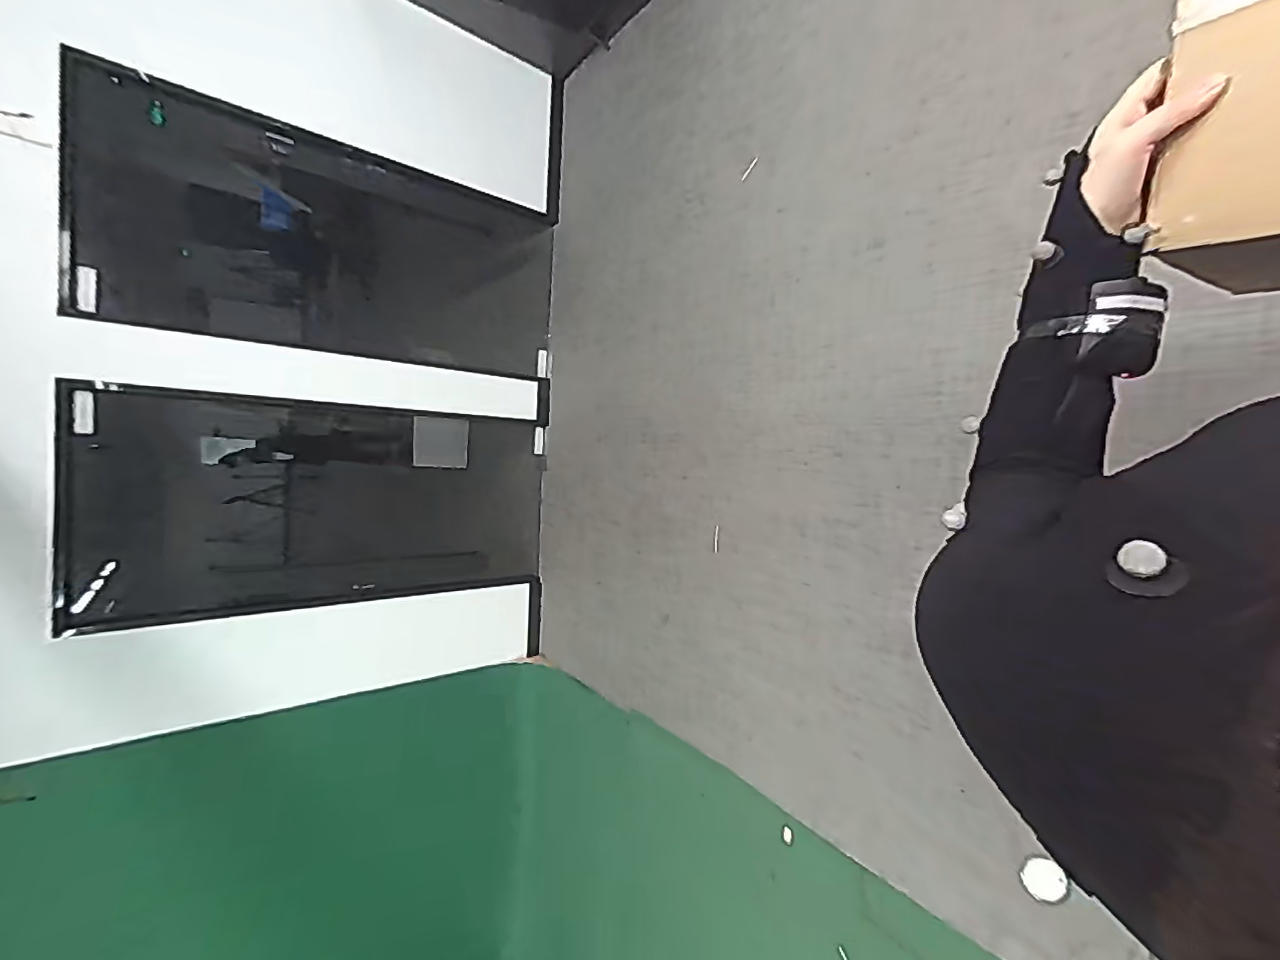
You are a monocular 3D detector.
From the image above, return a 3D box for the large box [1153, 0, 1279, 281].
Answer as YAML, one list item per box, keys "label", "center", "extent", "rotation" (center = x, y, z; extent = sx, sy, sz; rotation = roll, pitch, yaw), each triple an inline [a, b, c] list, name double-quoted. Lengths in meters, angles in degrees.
- label: "large box"
  center: [0.631, -0.318, 0.311]
  extent: [0.408, 0.320, 0.320]
  rotation: [14, 107, 56]
